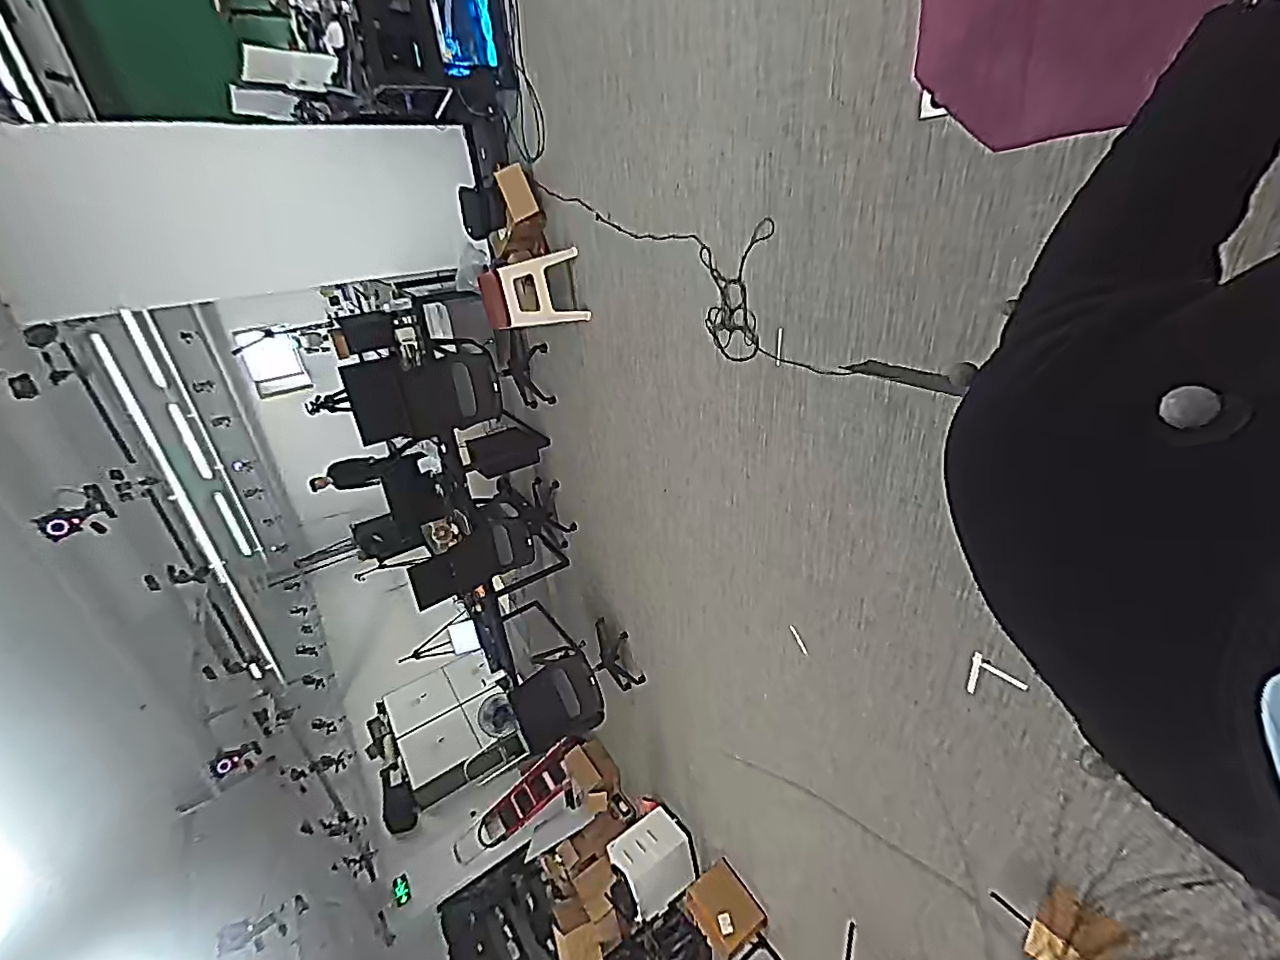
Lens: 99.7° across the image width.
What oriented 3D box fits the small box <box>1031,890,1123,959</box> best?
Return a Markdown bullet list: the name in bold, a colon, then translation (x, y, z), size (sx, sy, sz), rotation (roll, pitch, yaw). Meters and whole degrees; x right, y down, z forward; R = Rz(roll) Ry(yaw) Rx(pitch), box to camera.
- **small box**: translation (1.360, 1.444, 1.682), size (0.168, 0.176, 0.179), rotation (25, 130, 51)
